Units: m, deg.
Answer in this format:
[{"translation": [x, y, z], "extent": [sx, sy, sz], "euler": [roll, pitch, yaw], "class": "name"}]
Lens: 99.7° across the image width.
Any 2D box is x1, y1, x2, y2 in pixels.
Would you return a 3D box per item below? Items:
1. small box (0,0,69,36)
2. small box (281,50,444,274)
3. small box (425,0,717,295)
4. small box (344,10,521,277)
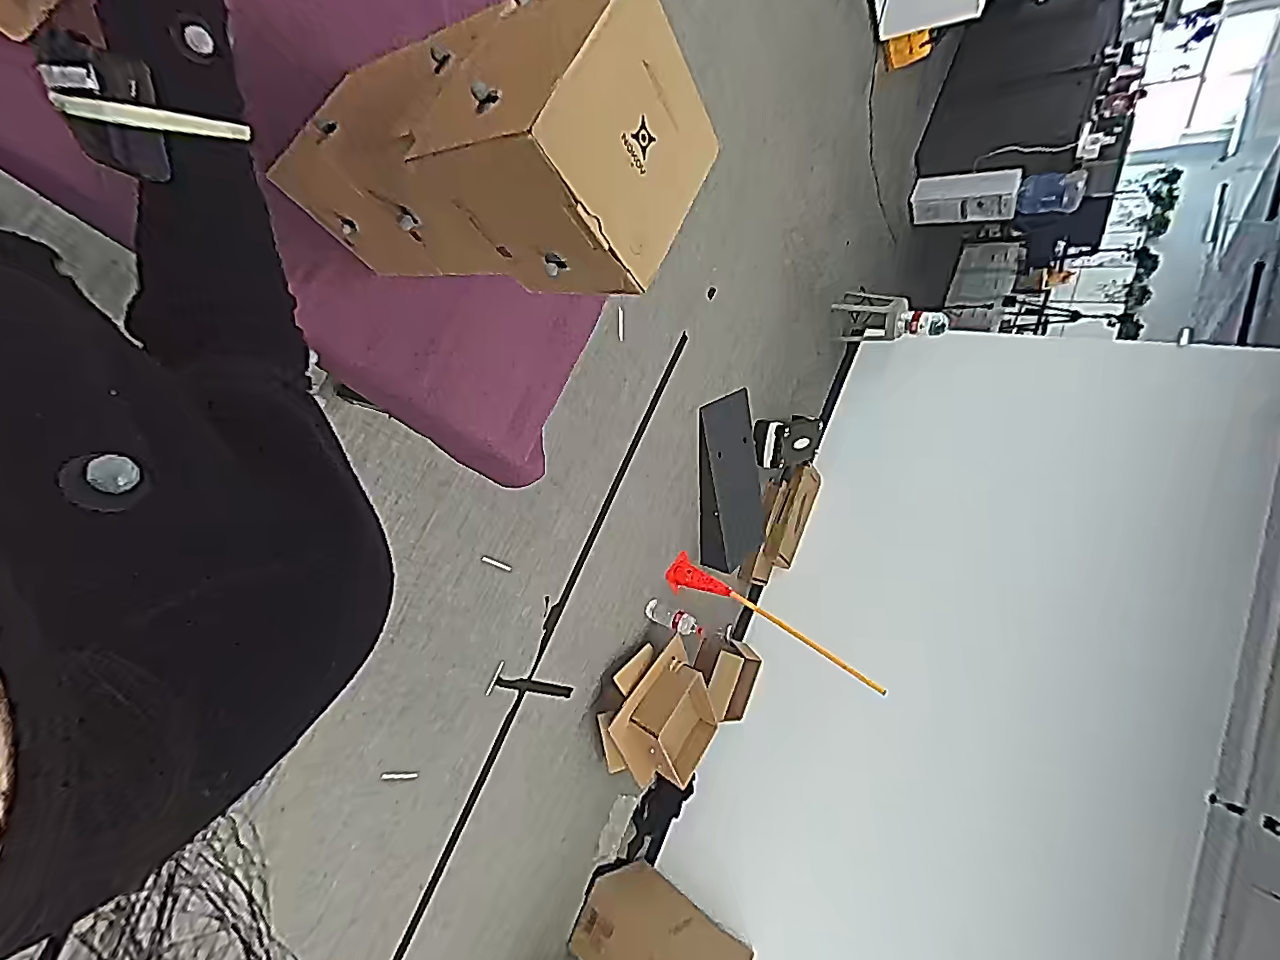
[{"translation": [-0.498, -0.480, 0.396], "extent": [0.168, 0.176, 0.179], "euler": [42, 68, -52], "class": "small box"}, {"translation": [-0.310, -0.382, 0.680], "extent": [0.168, 0.176, 0.179], "euler": [45, 66, -51], "class": "small box"}, {"translation": [-0.061, -0.291, 0.489], "extent": [0.168, 0.176, 0.179], "euler": [40, 71, -52], "class": "small box"}, {"translation": [-0.179, -0.347, 0.587], "extent": [0.168, 0.176, 0.179], "euler": [44, 68, -50], "class": "small box"}]
